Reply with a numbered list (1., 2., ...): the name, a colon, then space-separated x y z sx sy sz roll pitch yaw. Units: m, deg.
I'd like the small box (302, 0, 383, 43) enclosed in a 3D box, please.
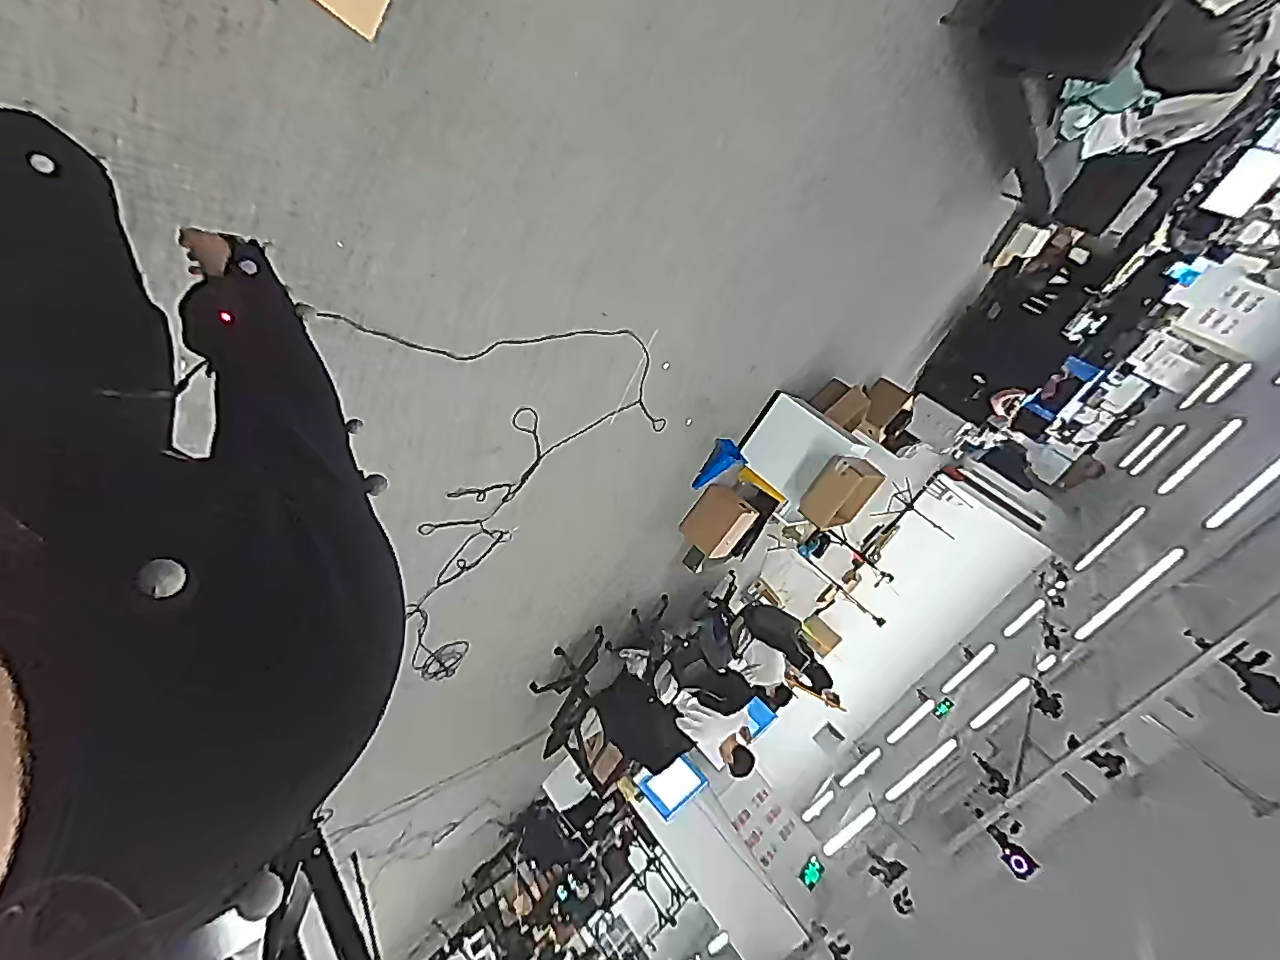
1. small box: -0.403 -0.692 0.646 0.179 0.176 0.168 -52 152 18
